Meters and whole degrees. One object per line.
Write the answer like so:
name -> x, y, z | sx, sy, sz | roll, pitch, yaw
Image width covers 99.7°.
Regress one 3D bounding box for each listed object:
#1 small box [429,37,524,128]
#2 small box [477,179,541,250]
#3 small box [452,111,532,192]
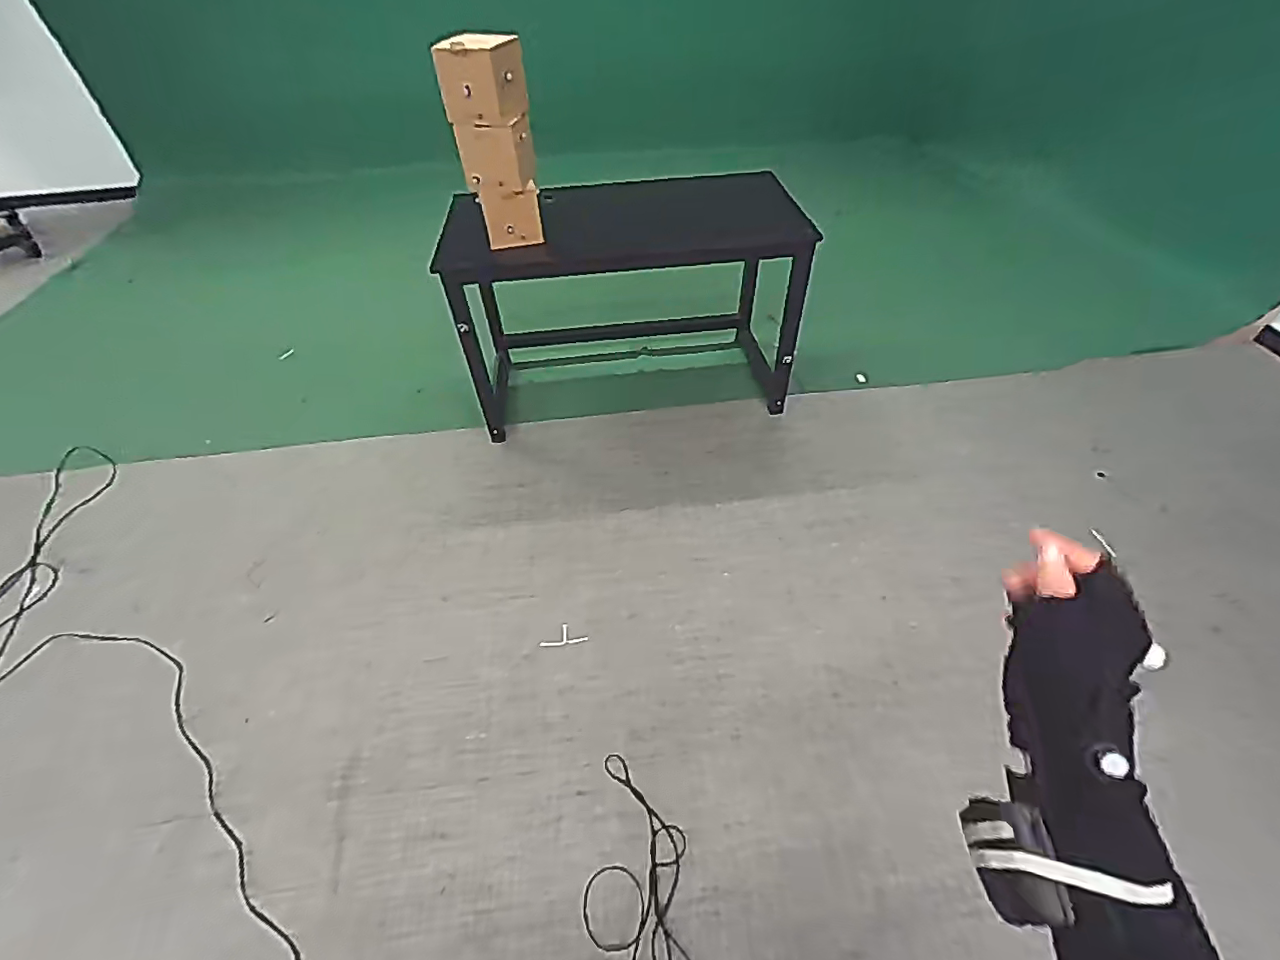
small box -> -0.430, -1.073, 1.461 | 0.168, 0.176, 0.179 | 12, 50, 12
small box -> -0.414, -0.846, 1.698 | 0.168, 0.176, 0.179 | -12, 49, -9
small box -> -0.422, -0.957, 1.578 | 0.168, 0.176, 0.179 | 4, 47, 5
